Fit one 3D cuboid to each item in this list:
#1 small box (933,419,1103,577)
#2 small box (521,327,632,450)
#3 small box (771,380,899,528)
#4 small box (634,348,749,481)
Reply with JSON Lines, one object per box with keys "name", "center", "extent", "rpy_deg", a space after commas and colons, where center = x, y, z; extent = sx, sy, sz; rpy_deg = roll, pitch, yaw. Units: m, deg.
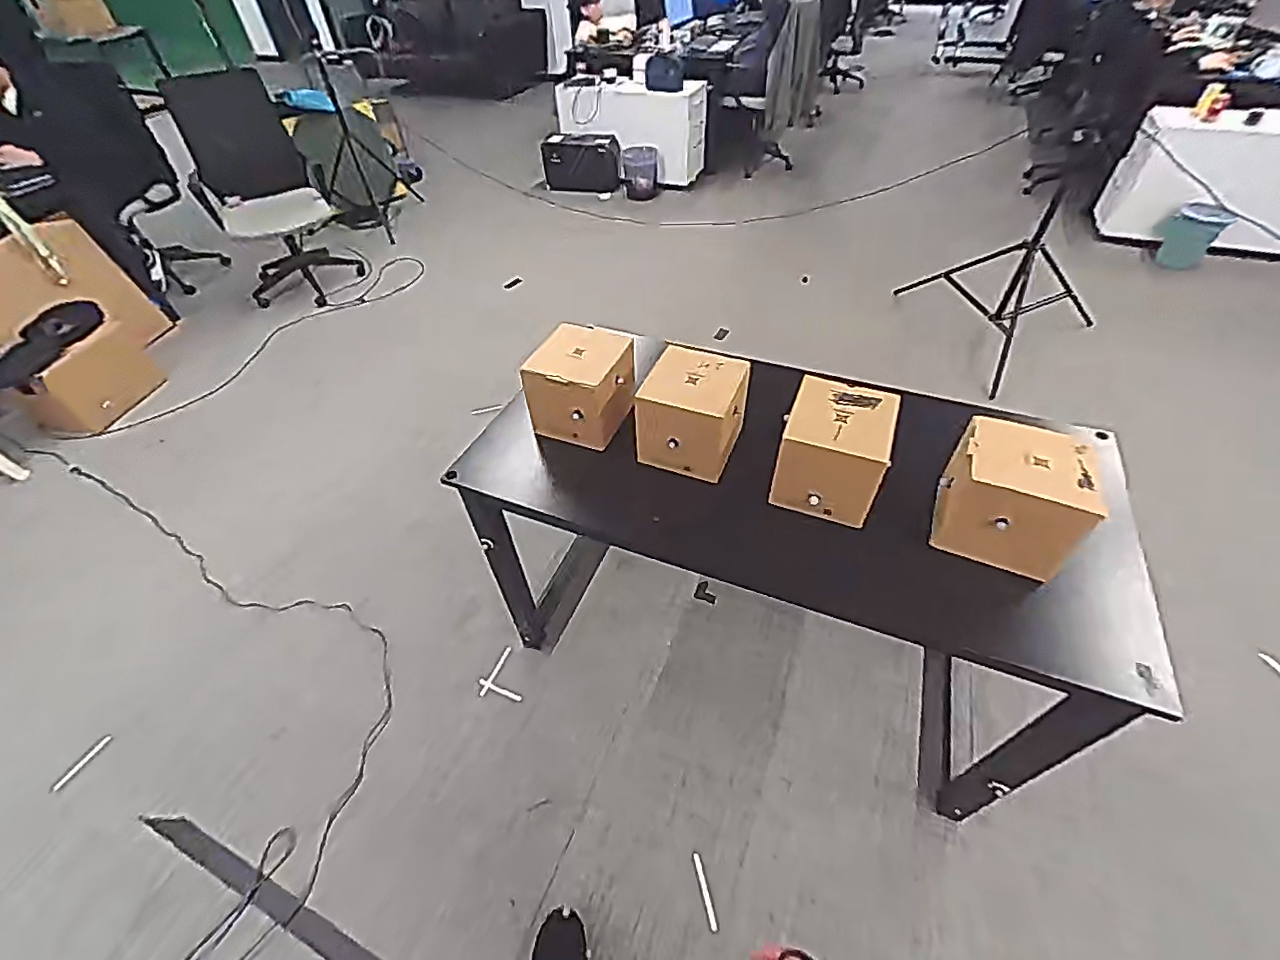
{"name": "small box", "center": [0.597, 0.031, 0.874], "extent": [0.179, 0.176, 0.168], "rpy_deg": [18, 50, 20]}
{"name": "small box", "center": [-0.119, -0.187, 1.116], "extent": [0.168, 0.176, 0.179], "rpy_deg": [16, 49, 16]}
{"name": "small box", "center": [0.340, -0.046, 0.960], "extent": [0.168, 0.176, 0.179], "rpy_deg": [16, 50, 17]}
{"name": "small box", "center": [0.101, -0.124, 1.043], "extent": [0.168, 0.176, 0.179], "rpy_deg": [17, 50, 17]}
